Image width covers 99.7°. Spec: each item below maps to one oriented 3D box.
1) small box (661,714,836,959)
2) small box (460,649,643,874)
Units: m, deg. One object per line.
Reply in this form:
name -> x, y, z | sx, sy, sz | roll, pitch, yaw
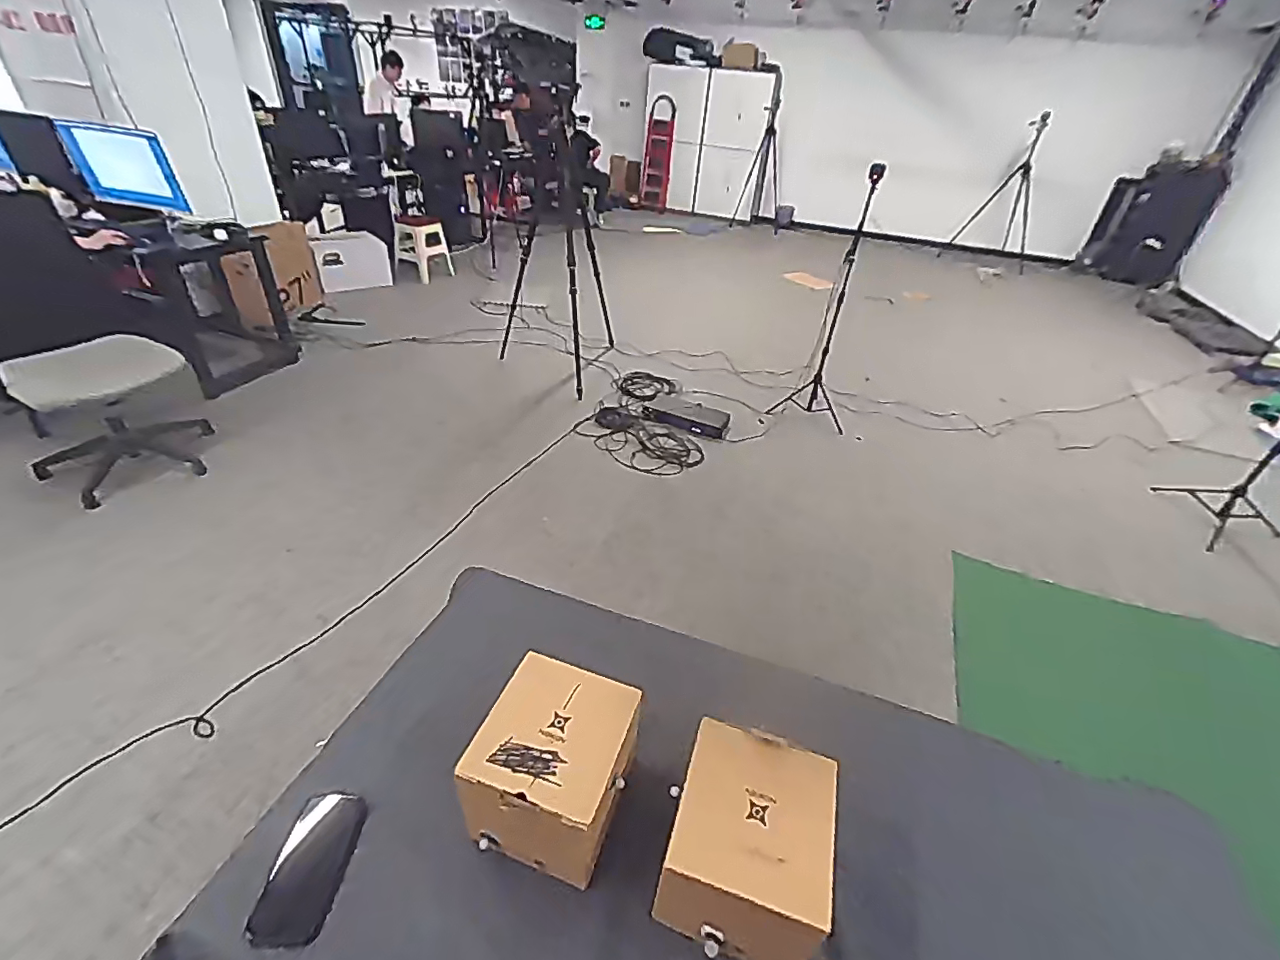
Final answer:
small box -> 0.127, 0.425, 0.646 | 0.168, 0.176, 0.179 | 13, 37, 12
small box -> -0.104, 0.361, 0.698 | 0.168, 0.176, 0.179 | 15, 35, 13
